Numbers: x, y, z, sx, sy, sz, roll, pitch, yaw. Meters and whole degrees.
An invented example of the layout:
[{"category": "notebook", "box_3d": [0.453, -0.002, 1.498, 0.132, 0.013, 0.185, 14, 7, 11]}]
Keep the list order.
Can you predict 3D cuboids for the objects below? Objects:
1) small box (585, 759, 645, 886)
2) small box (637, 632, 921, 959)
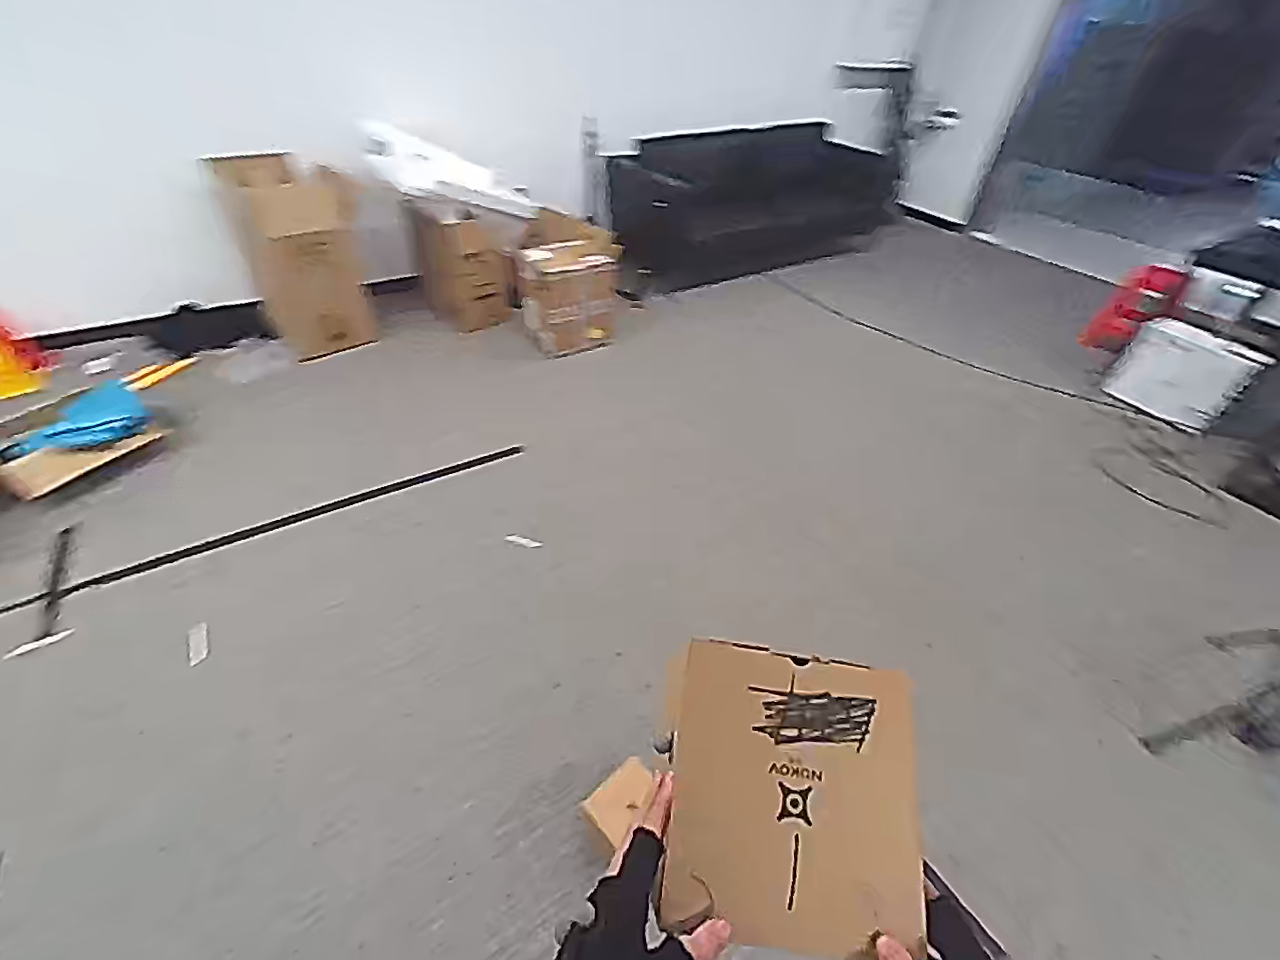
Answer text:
[{"category": "small box", "box_3d": [-0.011, 0.810, 1.272, 0.168, 0.176, 0.179, -30, 50, -34]}, {"category": "small box", "box_3d": [0.091, 0.233, 0.426, 0.168, 0.176, 0.179, 8, 65, 0]}]
